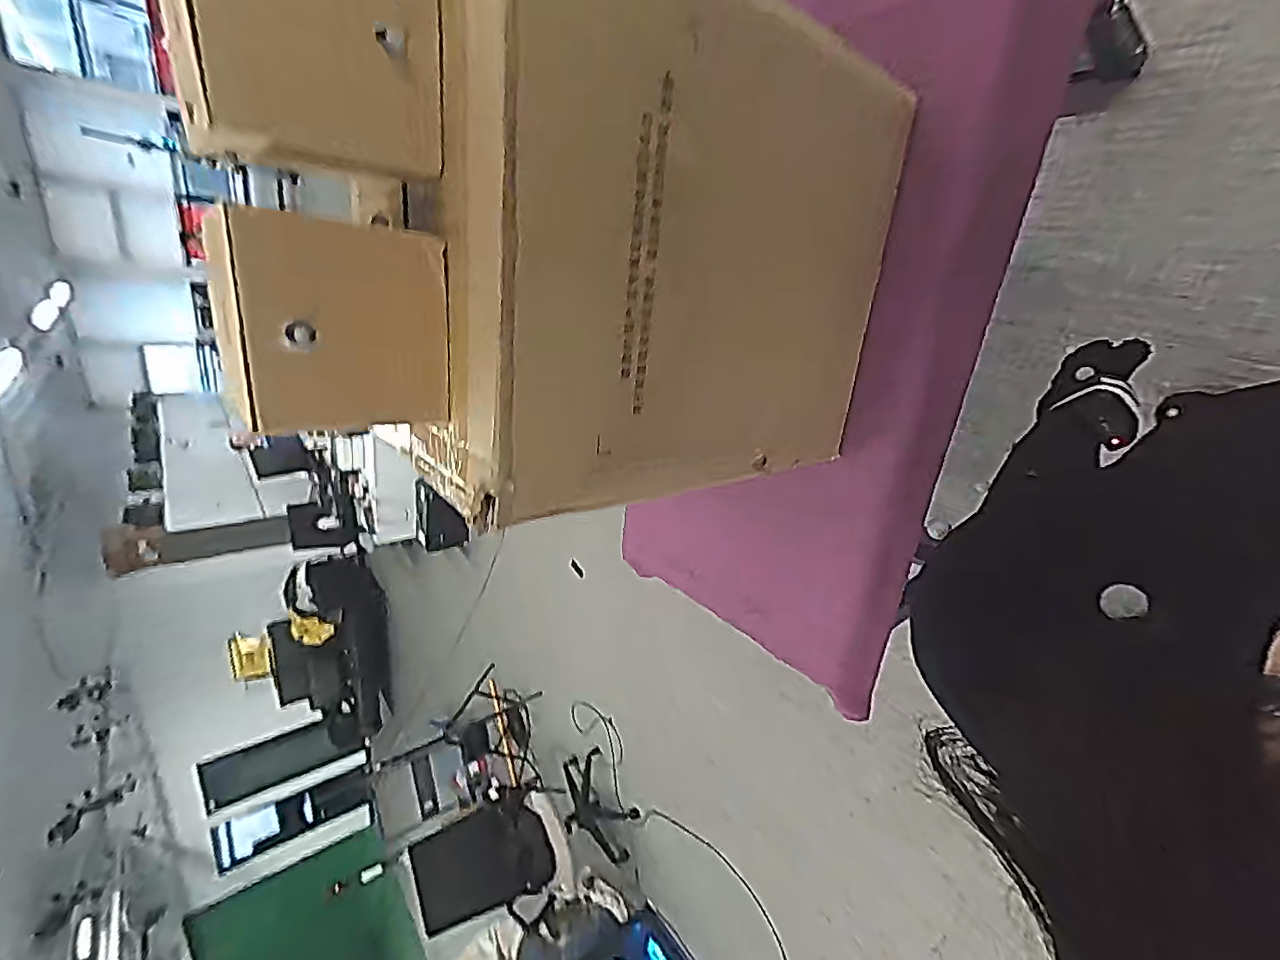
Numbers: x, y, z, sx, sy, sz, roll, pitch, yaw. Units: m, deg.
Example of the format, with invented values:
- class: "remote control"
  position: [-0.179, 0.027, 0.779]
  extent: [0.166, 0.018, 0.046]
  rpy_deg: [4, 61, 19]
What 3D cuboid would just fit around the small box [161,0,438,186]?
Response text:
- class: "small box"
  position: [-0.280, -0.363, 0.451]
  extent: [0.168, 0.176, 0.179]
  rpy_deg: [26, 118, 44]
